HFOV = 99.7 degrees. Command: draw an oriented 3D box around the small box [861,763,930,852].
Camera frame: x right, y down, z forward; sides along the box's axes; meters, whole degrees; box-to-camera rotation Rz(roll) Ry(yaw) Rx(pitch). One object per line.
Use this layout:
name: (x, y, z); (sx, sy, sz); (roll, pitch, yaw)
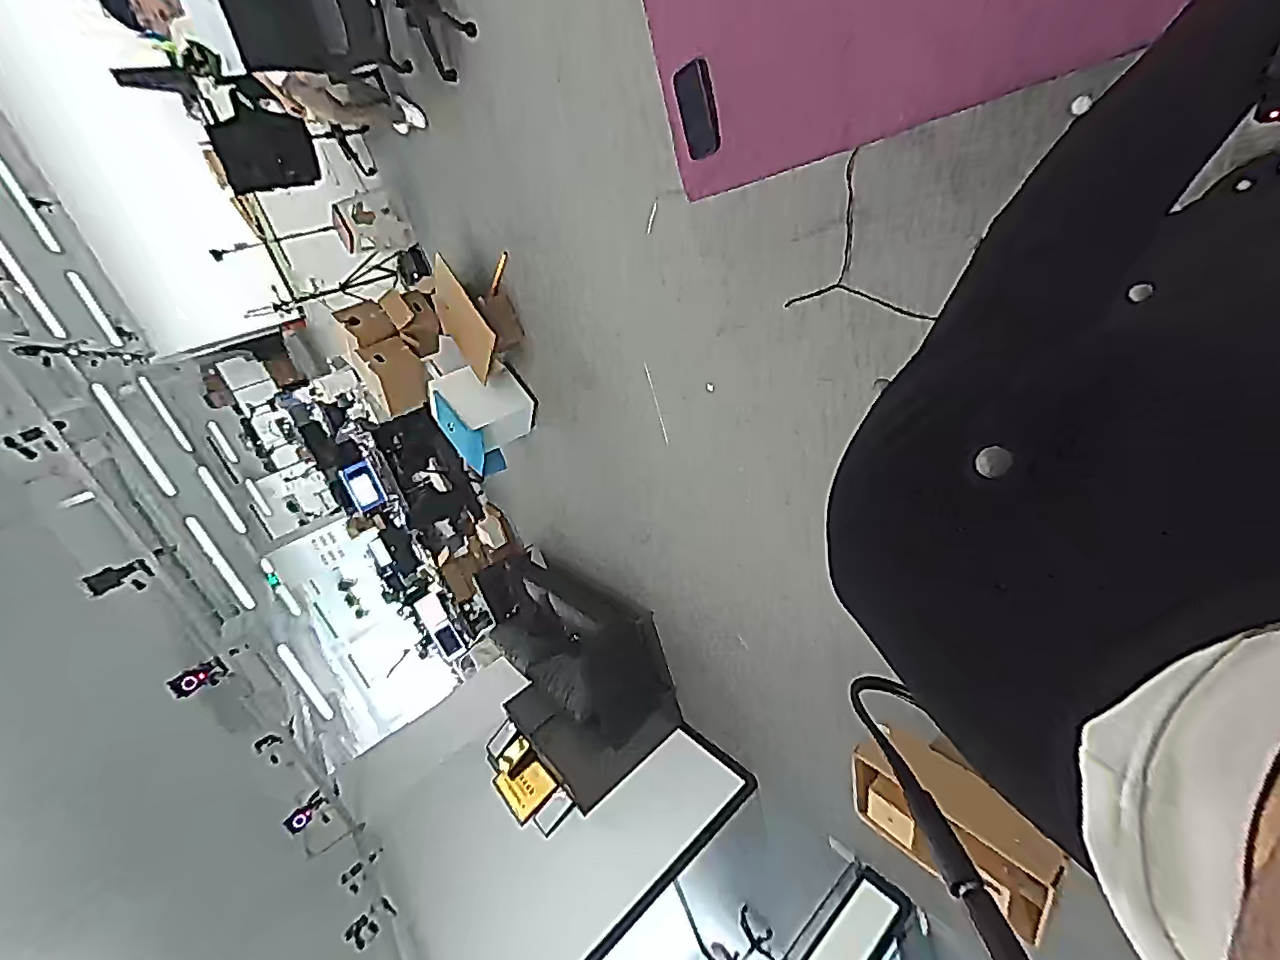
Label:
small box: (0.913, 1.165, 1.932); (0.168, 0.176, 0.179); (24, 134, 47)
